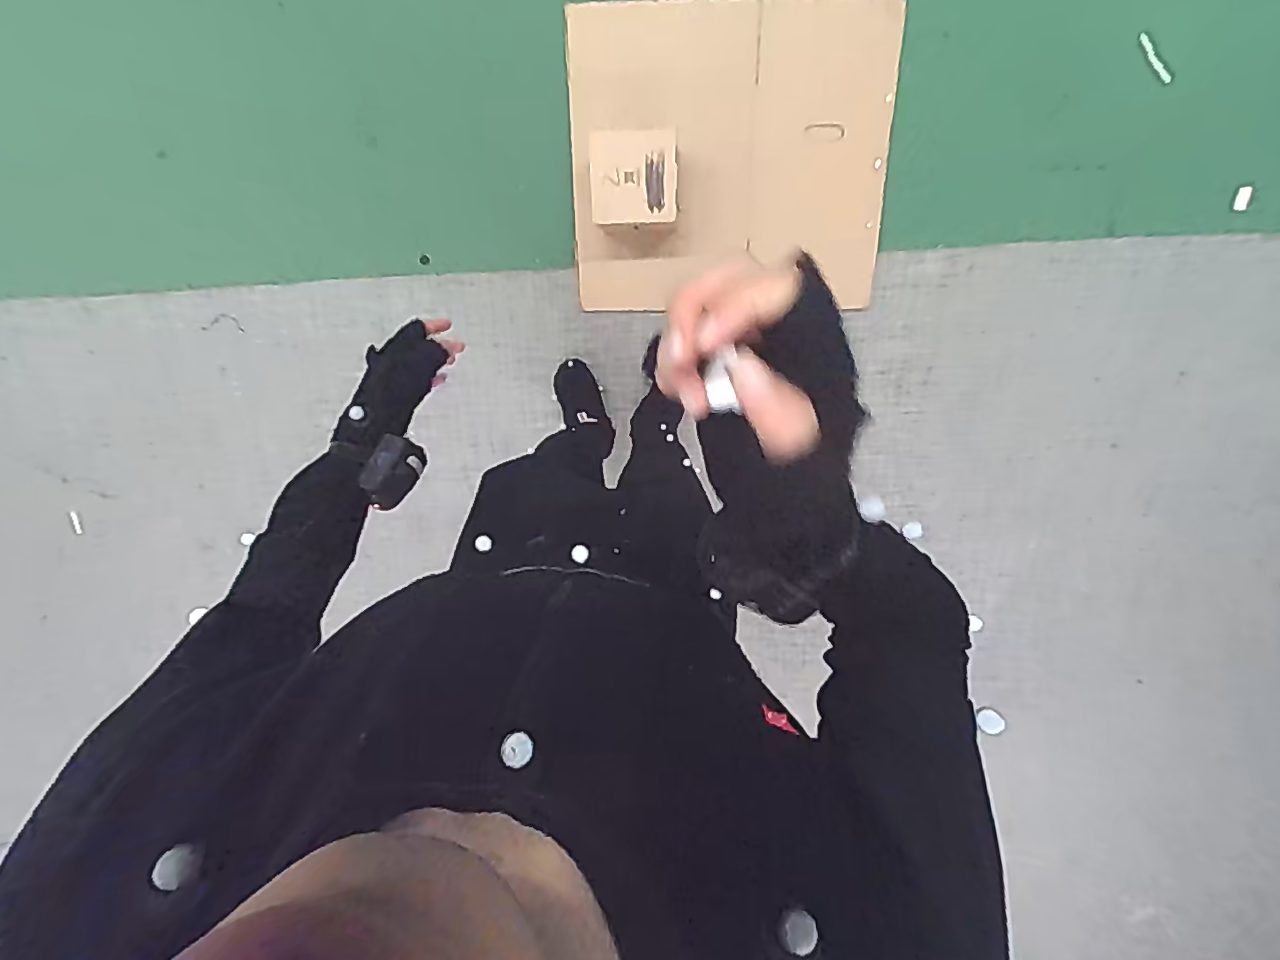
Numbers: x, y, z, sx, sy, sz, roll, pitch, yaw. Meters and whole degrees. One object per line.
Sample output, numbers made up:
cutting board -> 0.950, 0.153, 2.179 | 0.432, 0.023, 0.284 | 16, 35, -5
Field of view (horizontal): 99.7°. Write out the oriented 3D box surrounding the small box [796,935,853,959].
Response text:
small box -> 0.609, 1.624, 1.747 | 0.168, 0.176, 0.179 | -1, 108, 2
